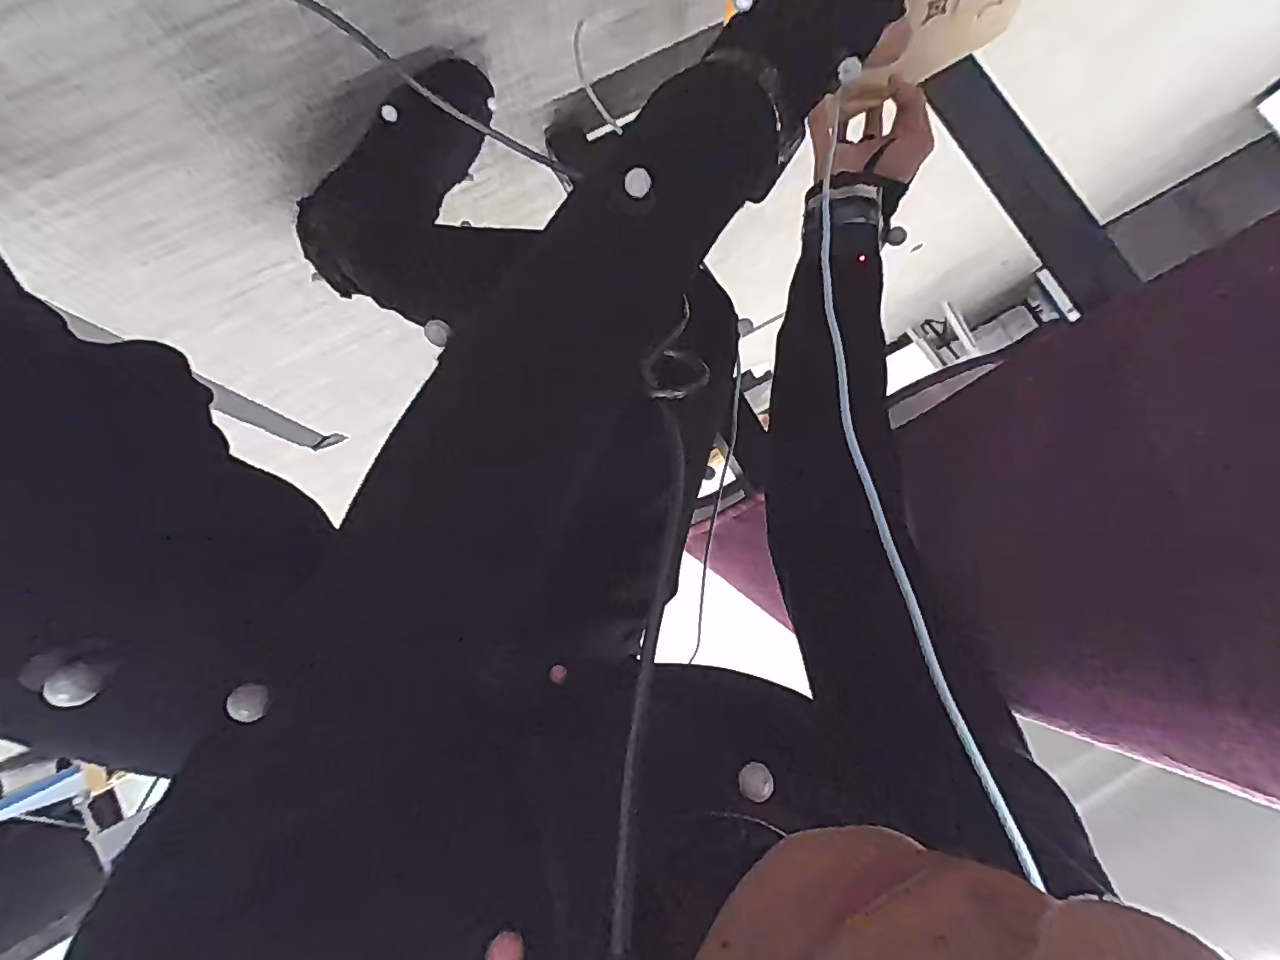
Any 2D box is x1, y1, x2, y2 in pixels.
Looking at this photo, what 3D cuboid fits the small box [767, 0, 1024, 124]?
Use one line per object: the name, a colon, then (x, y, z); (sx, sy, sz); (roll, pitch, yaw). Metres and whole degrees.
small box: (0.211, -0.454, 0.440); (0.179, 0.176, 0.168); (-26, 172, 8)
